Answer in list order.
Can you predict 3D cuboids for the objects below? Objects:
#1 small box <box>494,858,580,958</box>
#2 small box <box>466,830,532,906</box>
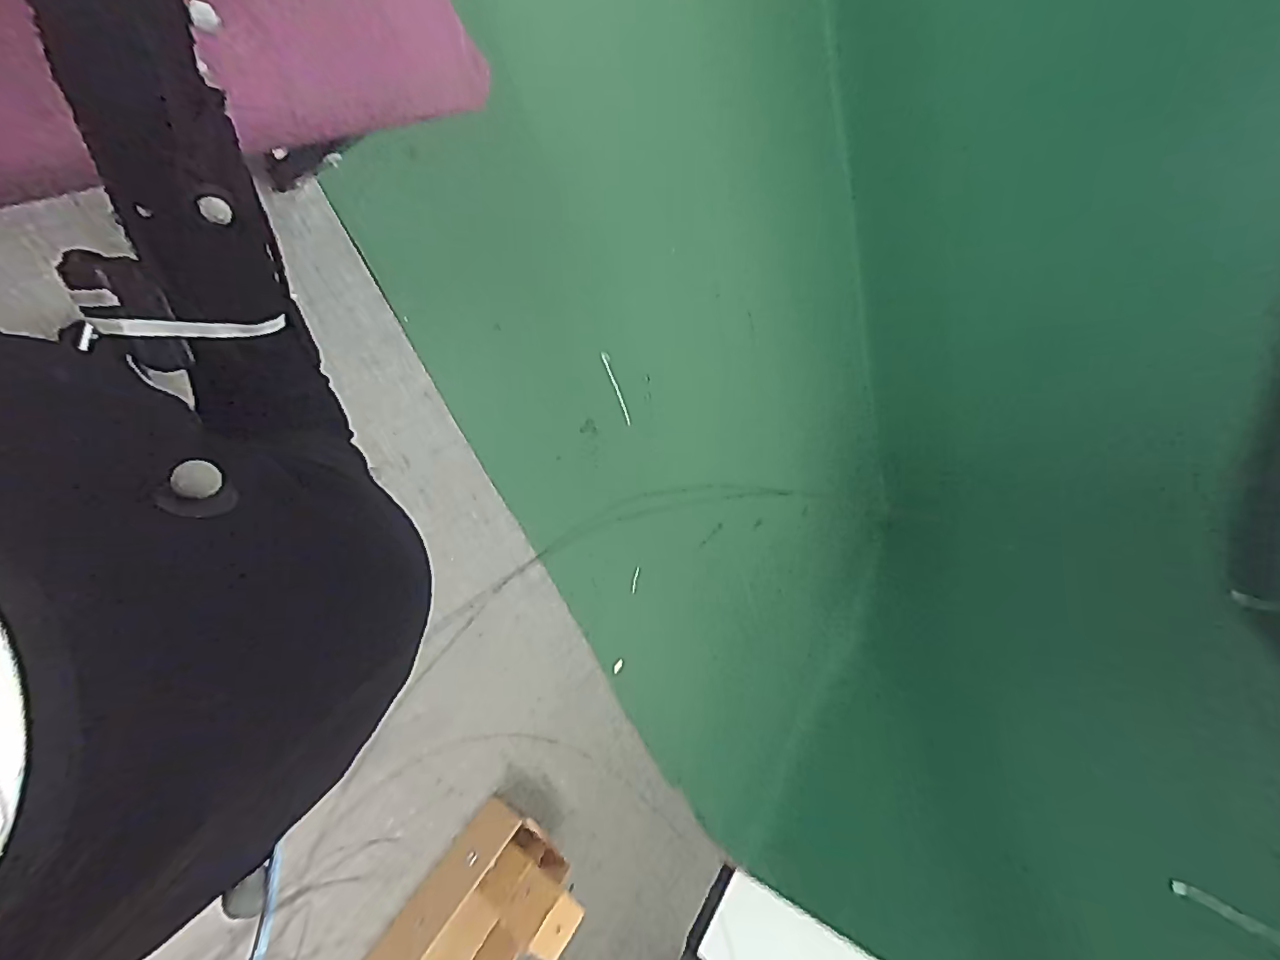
[{"bbox_3d":[-0.329,1.358,1.728,0.168,0.176,0.179,-47,129,-32],"label":"small box"},{"bbox_3d":[-0.452,1.335,1.833,0.168,0.176,0.179,-46,129,-34],"label":"small box"}]
